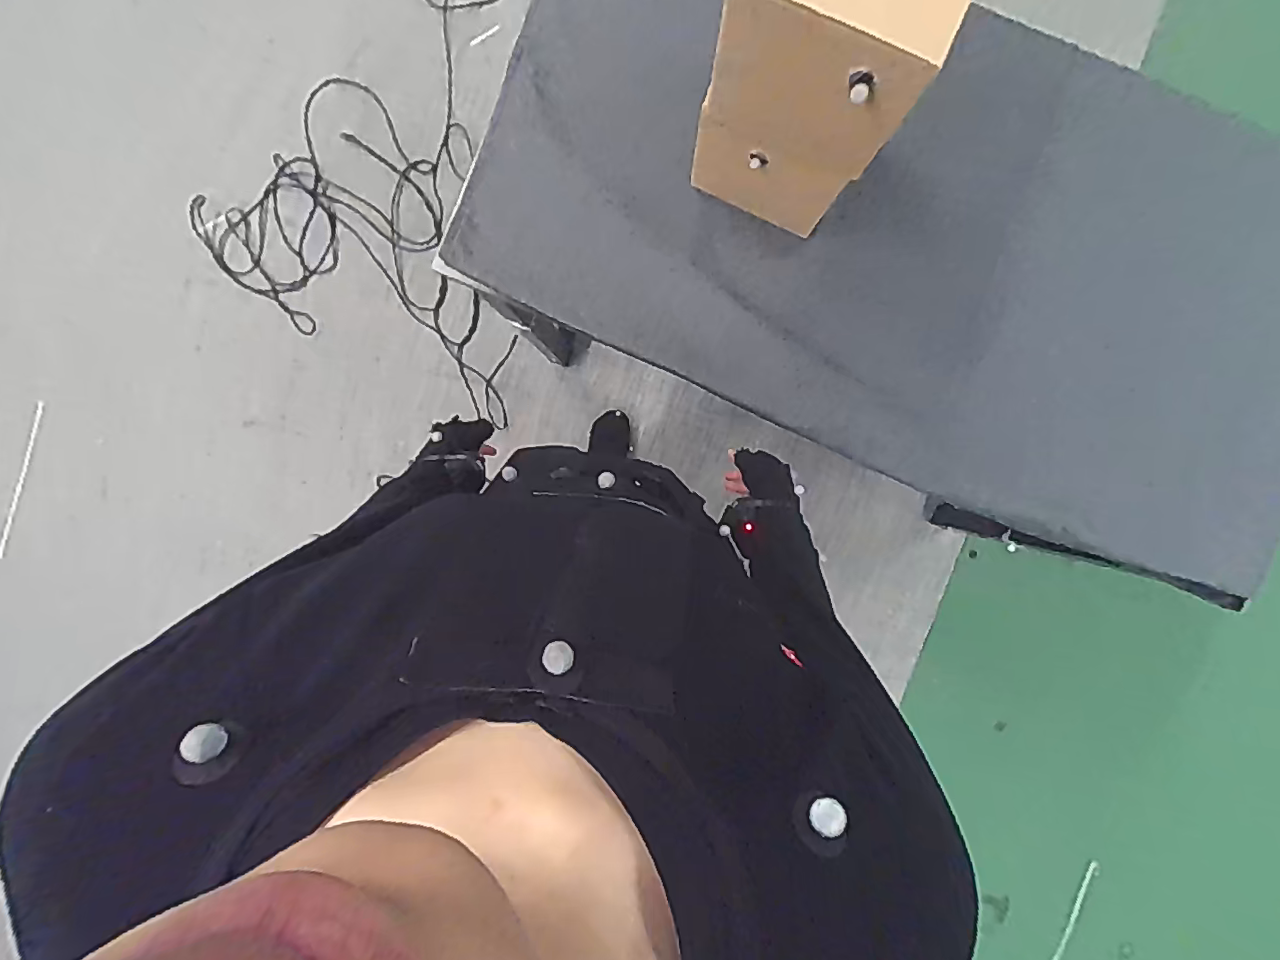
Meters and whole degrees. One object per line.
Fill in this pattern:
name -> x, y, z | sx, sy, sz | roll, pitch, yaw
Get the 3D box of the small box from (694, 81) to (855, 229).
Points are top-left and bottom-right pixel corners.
small box -> 0.179, -0.439, 0.656 | 0.179, 0.176, 0.168 | 25, 92, -1

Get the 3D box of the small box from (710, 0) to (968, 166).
small box -> 0.181, -0.426, 0.491 | 0.179, 0.176, 0.168 | 23, 91, 0
